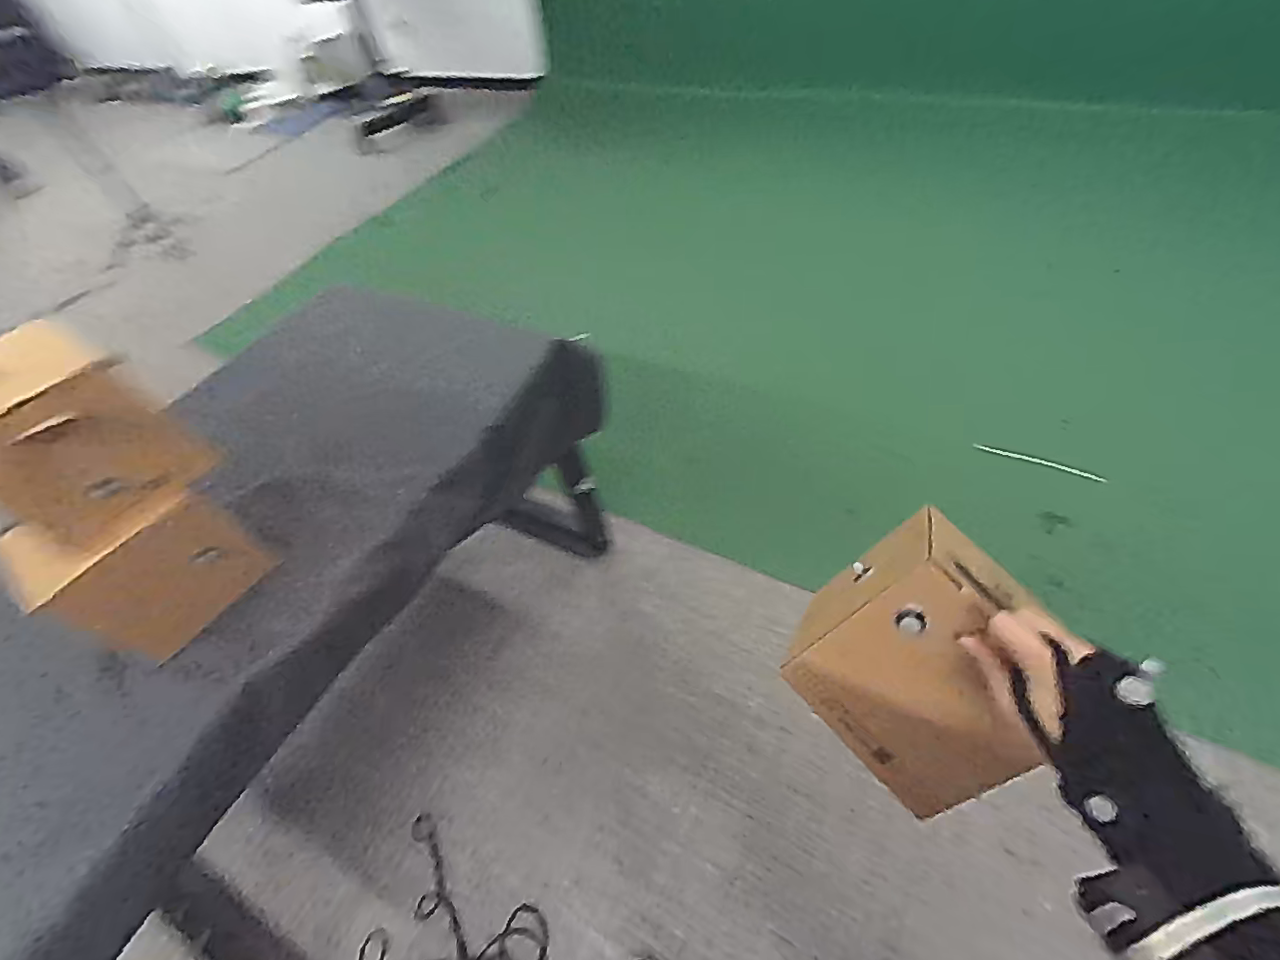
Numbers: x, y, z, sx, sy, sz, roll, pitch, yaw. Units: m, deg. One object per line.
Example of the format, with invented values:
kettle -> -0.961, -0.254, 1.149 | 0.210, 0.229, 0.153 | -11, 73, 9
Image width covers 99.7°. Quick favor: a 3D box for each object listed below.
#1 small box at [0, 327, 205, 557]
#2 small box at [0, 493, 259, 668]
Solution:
small box -> -0.659, -0.040, 0.610 | 0.179, 0.176, 0.168 | 23, 59, 25
small box -> -0.643, 0.107, 0.700 | 0.168, 0.176, 0.179 | 24, 61, 27
